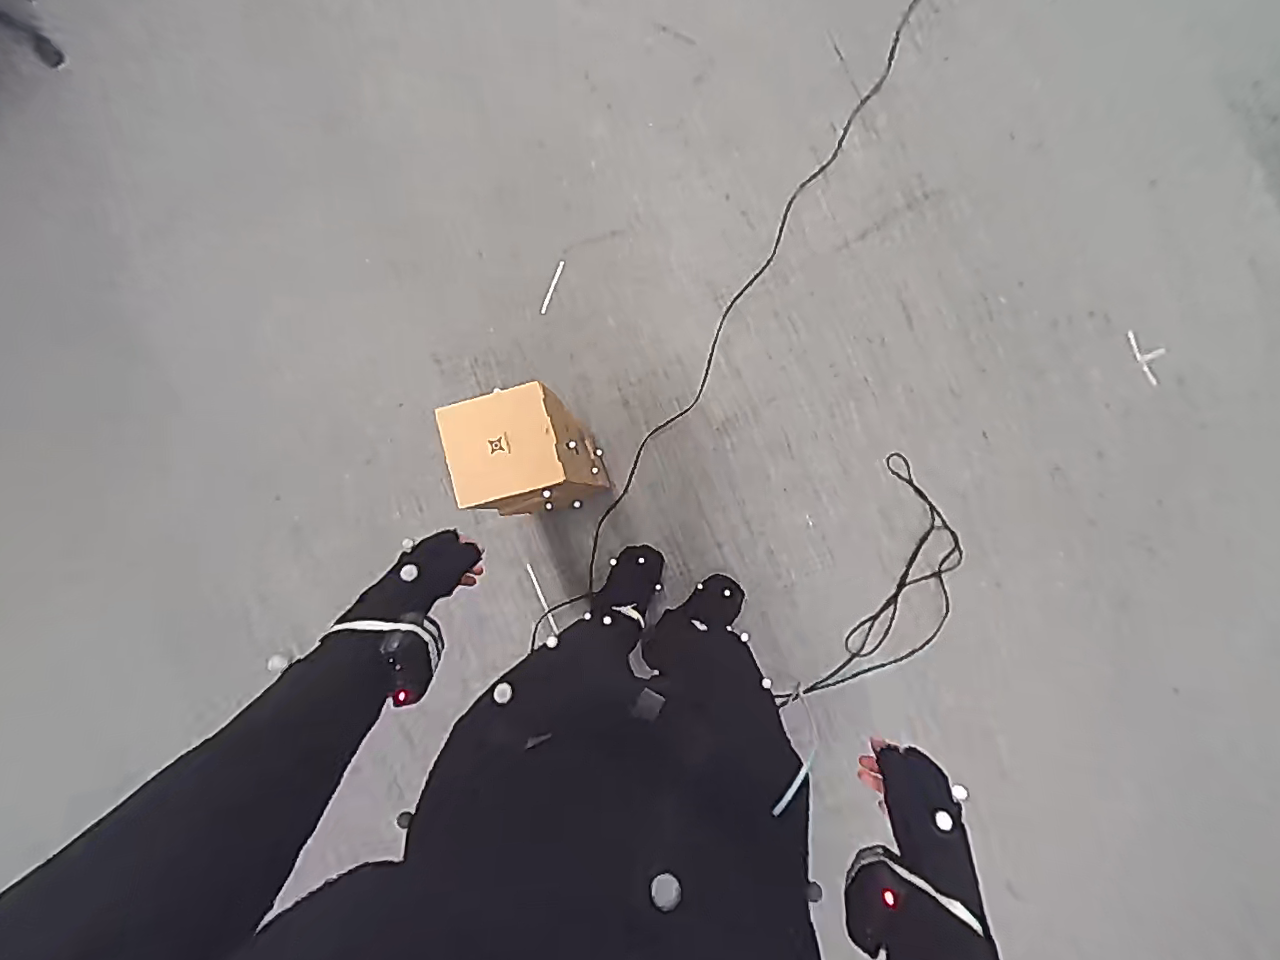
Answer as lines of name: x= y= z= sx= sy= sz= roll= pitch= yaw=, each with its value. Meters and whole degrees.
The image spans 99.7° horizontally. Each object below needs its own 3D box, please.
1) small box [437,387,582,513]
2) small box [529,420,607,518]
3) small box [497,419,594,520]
small box: x=-0.212 y=-0.042 z=0.921 sx=0.179 sy=0.176 sz=0.168 roll=-15 pitch=87 yaw=2
small box: x=-0.184 y=-0.019 z=1.248 sx=0.179 sy=0.176 sz=0.168 roll=-24 pitch=84 yaw=1
small box: x=-0.201 y=-0.027 z=1.082 sx=0.179 sy=0.176 sz=0.168 roll=-20 pitch=87 yaw=4
